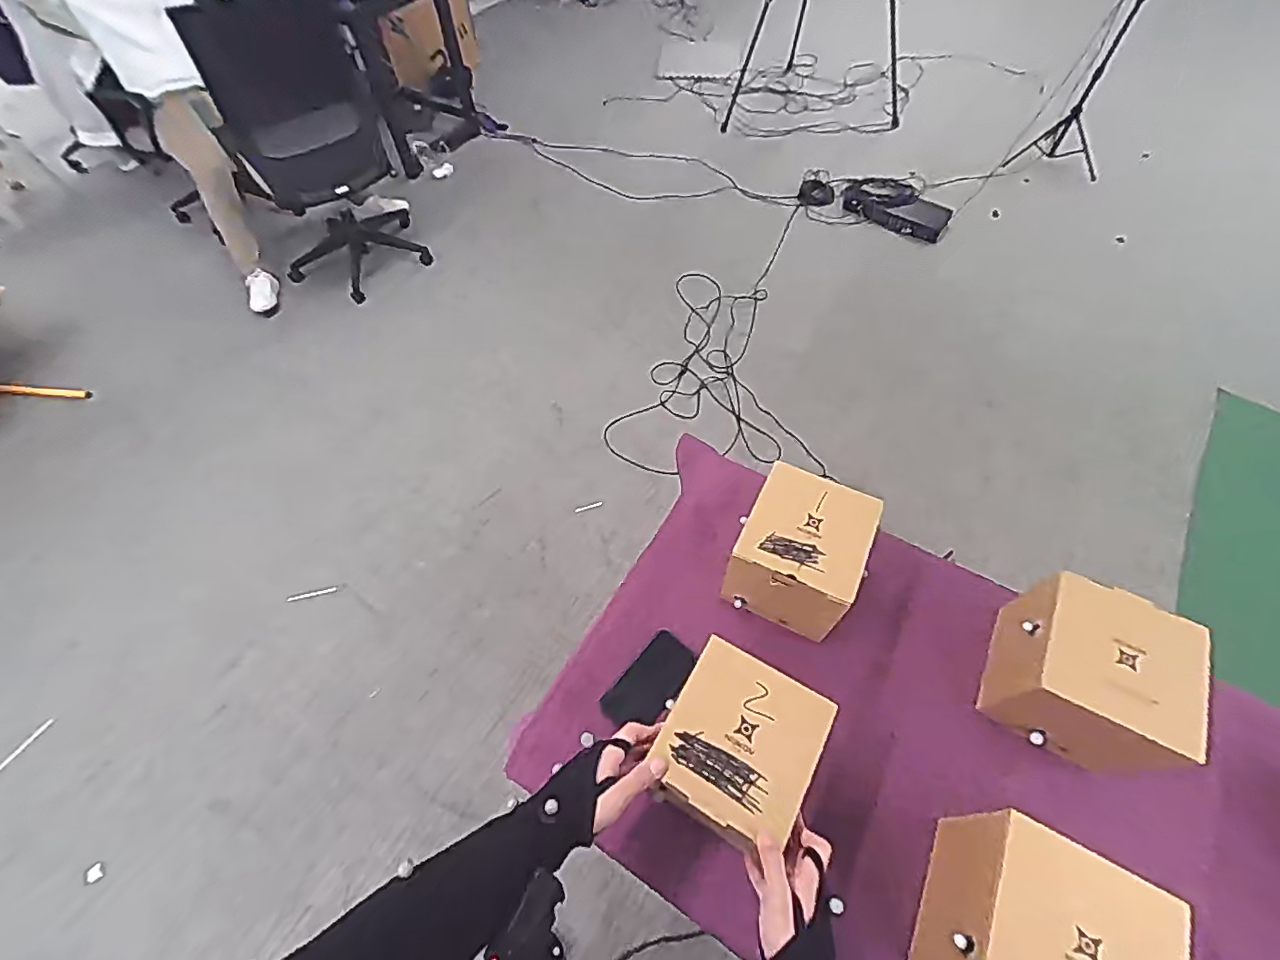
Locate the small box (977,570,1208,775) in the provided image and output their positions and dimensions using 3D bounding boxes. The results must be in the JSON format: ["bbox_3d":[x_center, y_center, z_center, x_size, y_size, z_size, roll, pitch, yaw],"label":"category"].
[{"bbox_3d":[0.581,0.256,0.712,0.168,0.176,0.179,26,61,18],"label":"small box"}]

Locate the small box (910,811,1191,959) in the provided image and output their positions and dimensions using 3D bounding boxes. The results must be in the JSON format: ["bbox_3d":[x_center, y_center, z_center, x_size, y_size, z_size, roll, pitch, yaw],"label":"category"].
[{"bbox_3d":[0.412,0.482,0.565,0.168,0.176,0.179,26,60,16],"label":"small box"}]

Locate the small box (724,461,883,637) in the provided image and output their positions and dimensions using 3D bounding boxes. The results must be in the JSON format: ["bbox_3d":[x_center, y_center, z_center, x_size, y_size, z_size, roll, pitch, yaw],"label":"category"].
[{"bbox_3d":[0.236,0.110,0.814,0.168,0.176,0.179,24,60,15],"label":"small box"}]
